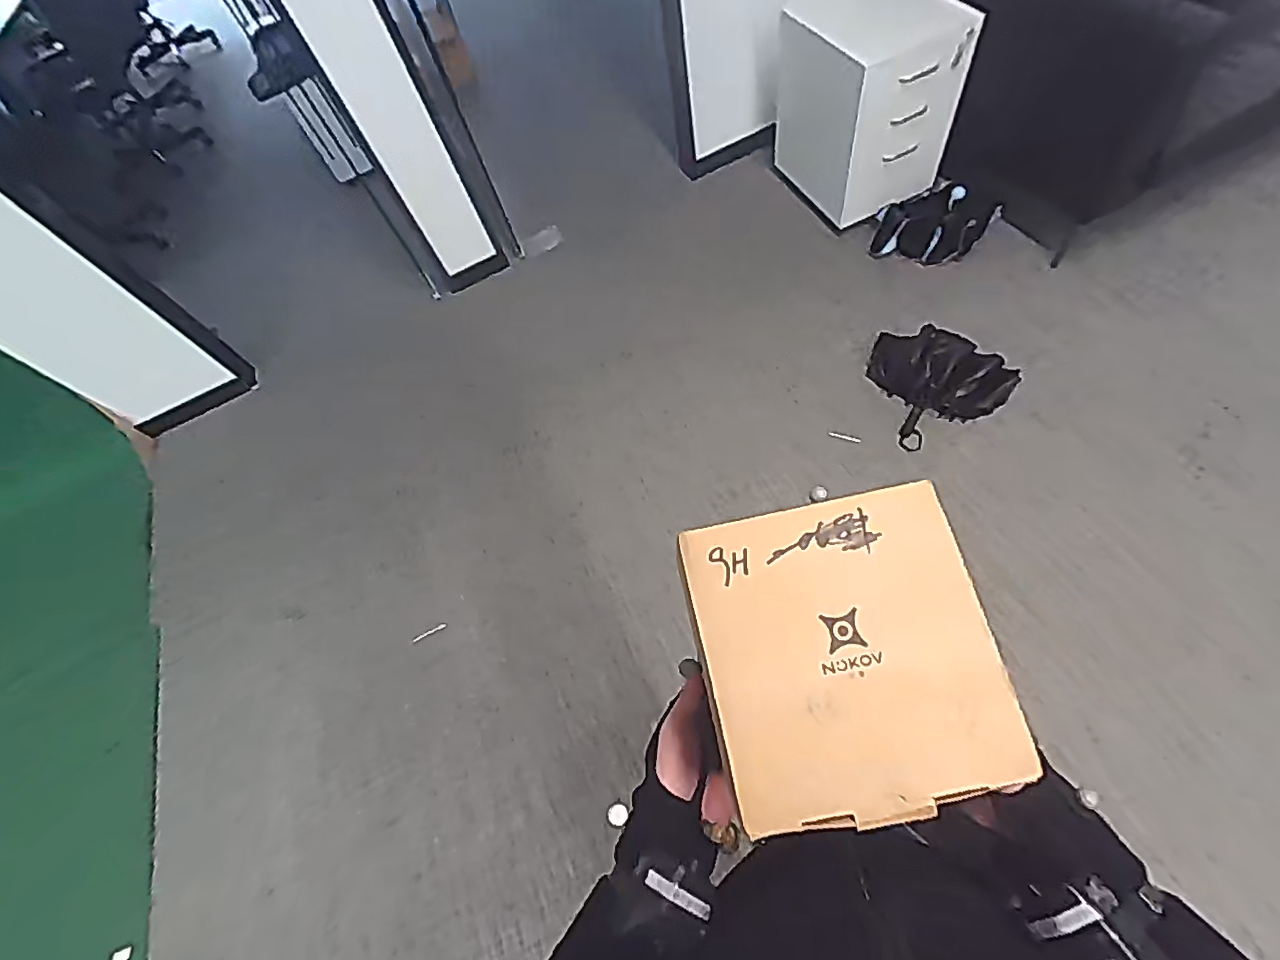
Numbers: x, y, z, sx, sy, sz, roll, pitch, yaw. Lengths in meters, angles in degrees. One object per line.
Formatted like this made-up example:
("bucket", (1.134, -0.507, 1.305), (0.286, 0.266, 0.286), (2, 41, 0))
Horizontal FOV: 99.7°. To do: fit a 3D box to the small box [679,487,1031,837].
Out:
("small box", (0.126, 0.121, 0.397), (0.168, 0.176, 0.179), (-12, 74, 0))
